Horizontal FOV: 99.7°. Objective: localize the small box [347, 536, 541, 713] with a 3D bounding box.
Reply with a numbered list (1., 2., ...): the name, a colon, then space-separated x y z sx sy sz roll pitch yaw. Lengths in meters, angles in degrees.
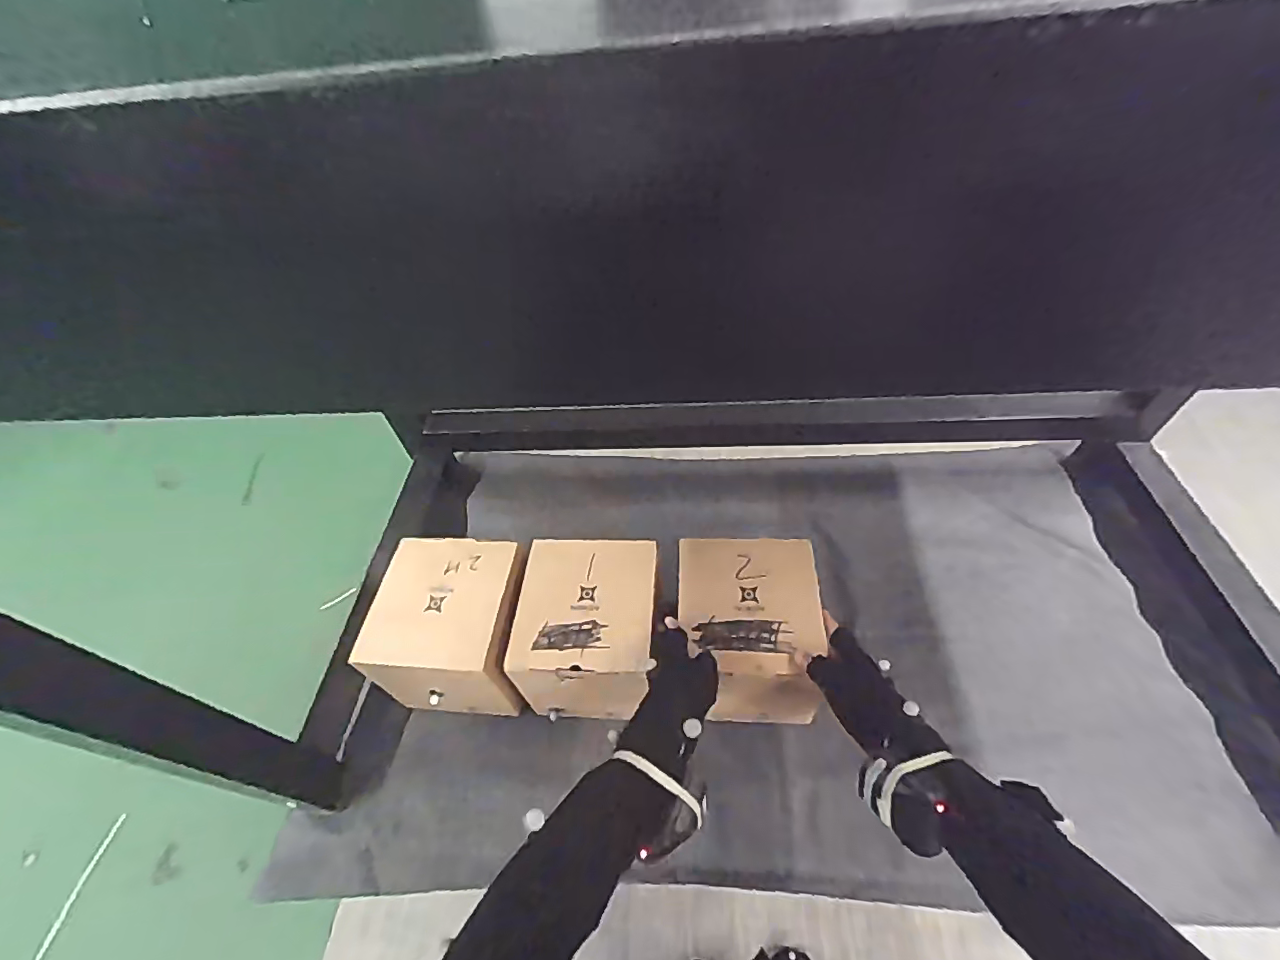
1. small box: -0.241 0.195 0.721 0.168 0.176 0.179 2 50 7
